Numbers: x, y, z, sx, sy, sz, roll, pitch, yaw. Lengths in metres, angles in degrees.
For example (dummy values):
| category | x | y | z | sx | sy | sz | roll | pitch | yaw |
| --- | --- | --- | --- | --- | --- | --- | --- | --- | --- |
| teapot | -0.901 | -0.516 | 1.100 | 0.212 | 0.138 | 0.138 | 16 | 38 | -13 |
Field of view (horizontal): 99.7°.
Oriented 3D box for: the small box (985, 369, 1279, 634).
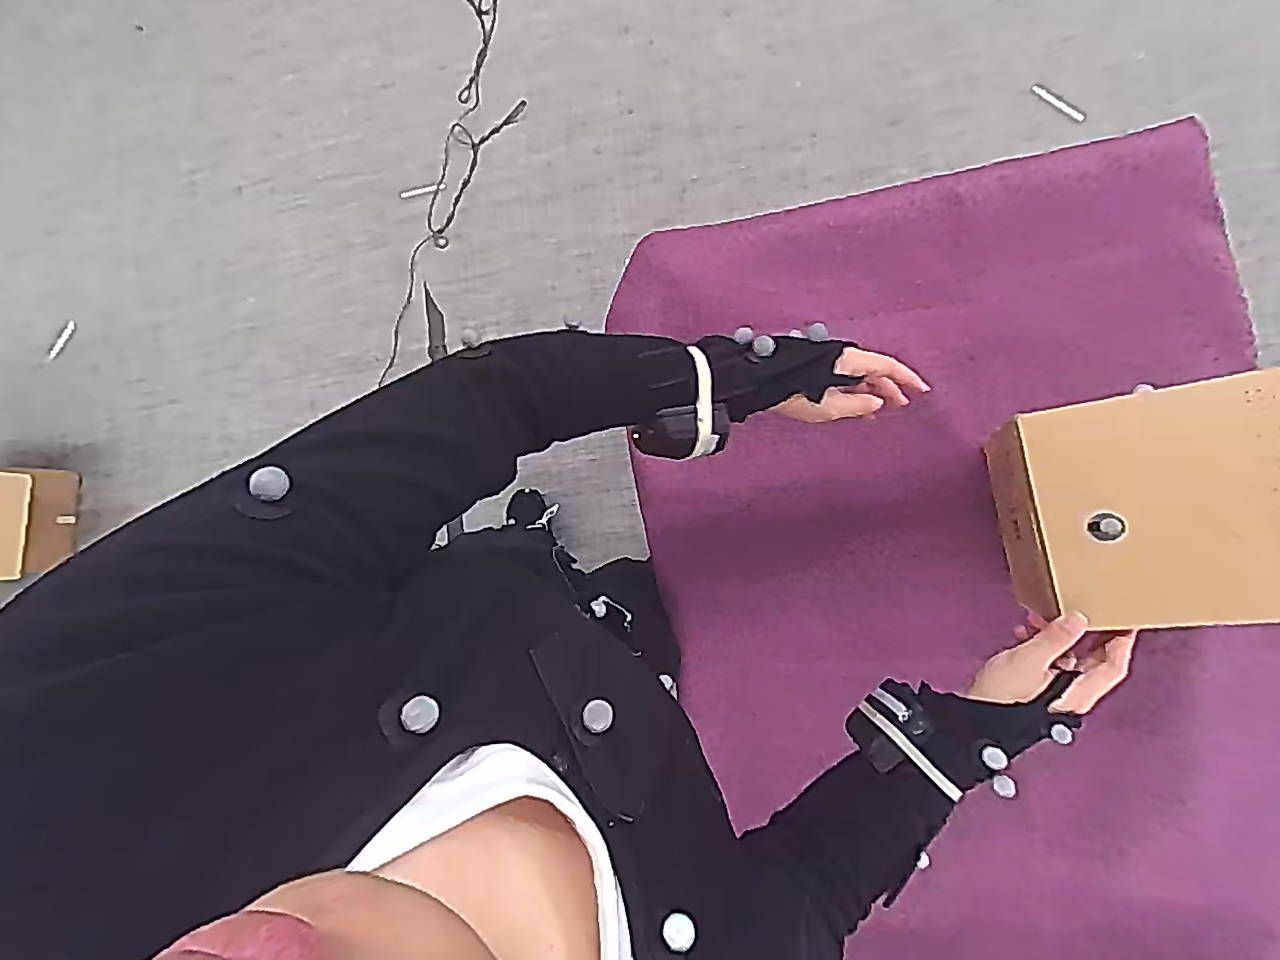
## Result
| category | x | y | z | sx | sy | sz | roll | pitch | yaw |
| --- | --- | --- | --- | --- | --- | --- | --- | --- | --- |
| small box | 0.421 | 0.024 | 0.463 | 0.176 | 0.168 | 0.179 | -10 | 82 | 23 |
